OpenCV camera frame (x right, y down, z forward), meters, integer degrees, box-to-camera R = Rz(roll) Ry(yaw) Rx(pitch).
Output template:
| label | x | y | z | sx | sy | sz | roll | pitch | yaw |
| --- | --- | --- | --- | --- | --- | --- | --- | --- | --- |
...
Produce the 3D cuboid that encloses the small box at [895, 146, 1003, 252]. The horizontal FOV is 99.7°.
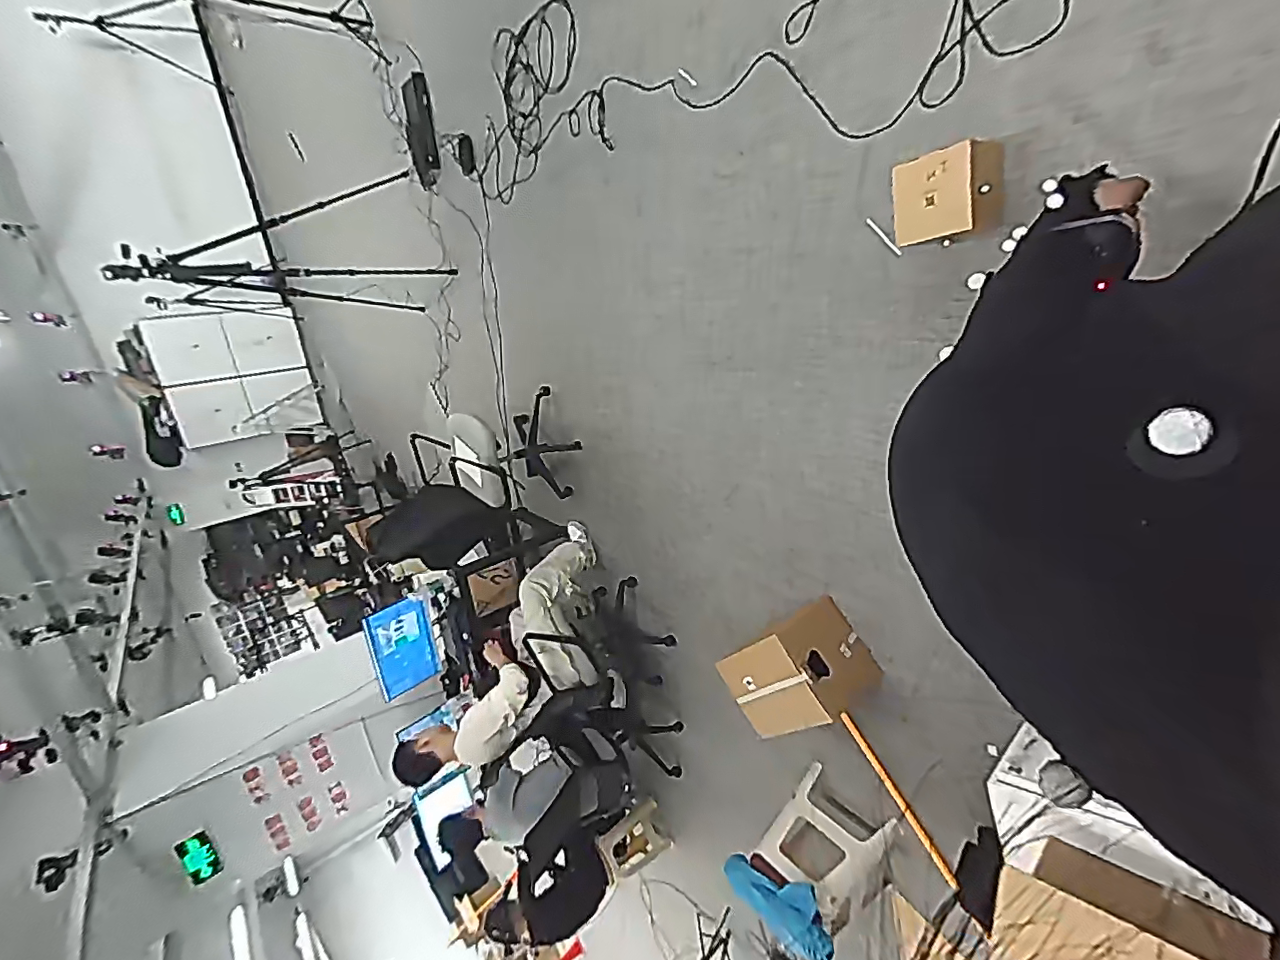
| label | x | y | z | sx | sy | sz | roll | pitch | yaw |
| --- | --- | --- | --- | --- | --- | --- | --- | --- | --- |
| small box | 0.704 | -0.632 | 1.229 | 0.168 | 0.176 | 0.179 | 8 | 112 | 51 |
